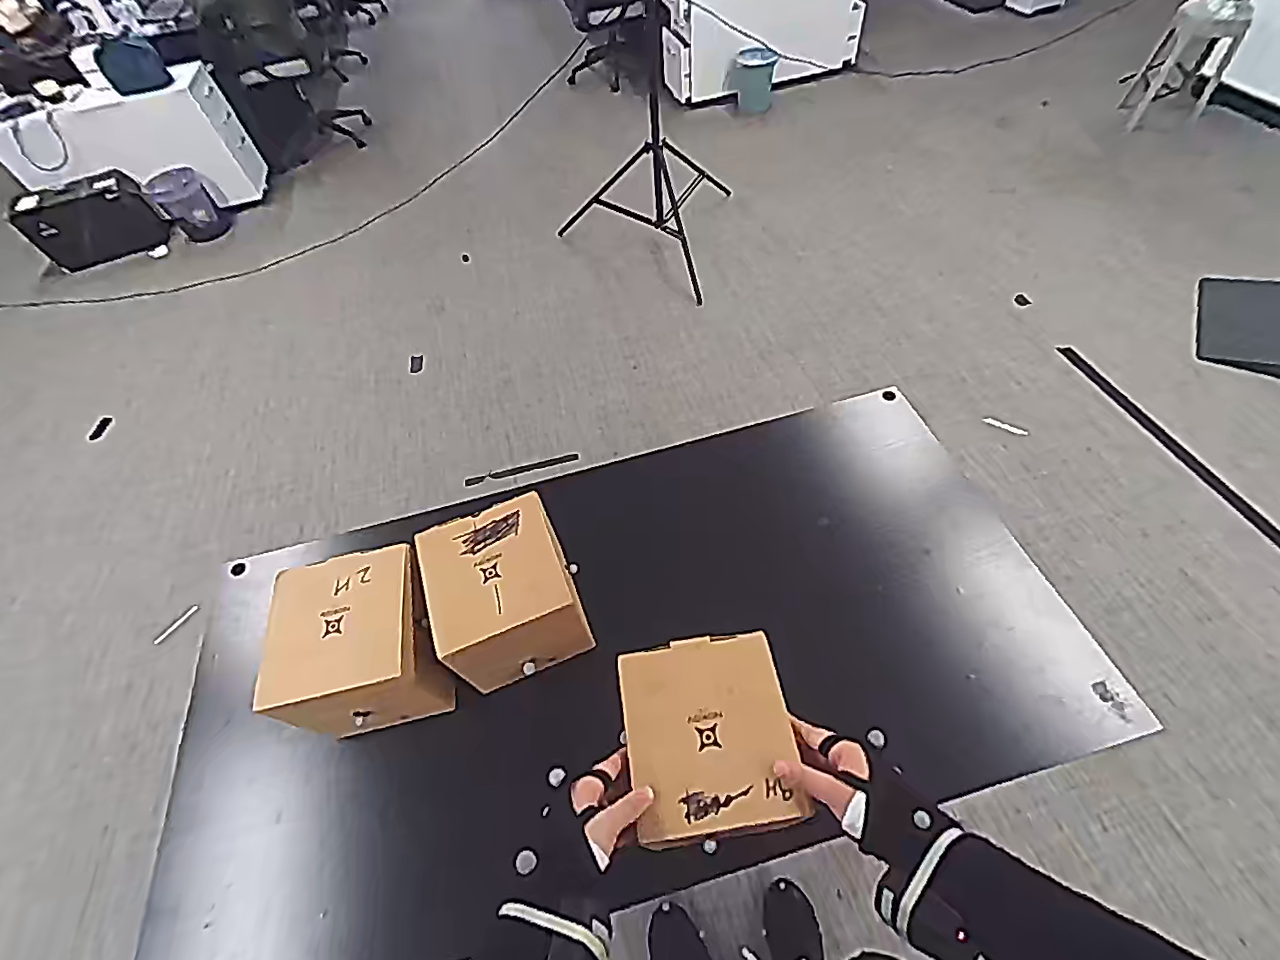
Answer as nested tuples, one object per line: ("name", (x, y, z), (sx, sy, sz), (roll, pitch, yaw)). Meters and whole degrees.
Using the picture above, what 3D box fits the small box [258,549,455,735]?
("small box", (-0.353, 0.220, 0.712), (0.168, 0.176, 0.179), (-13, 54, -3))

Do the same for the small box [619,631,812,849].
("small box", (0.075, 0.294, 0.606), (0.168, 0.176, 0.179), (-10, 53, 0))
